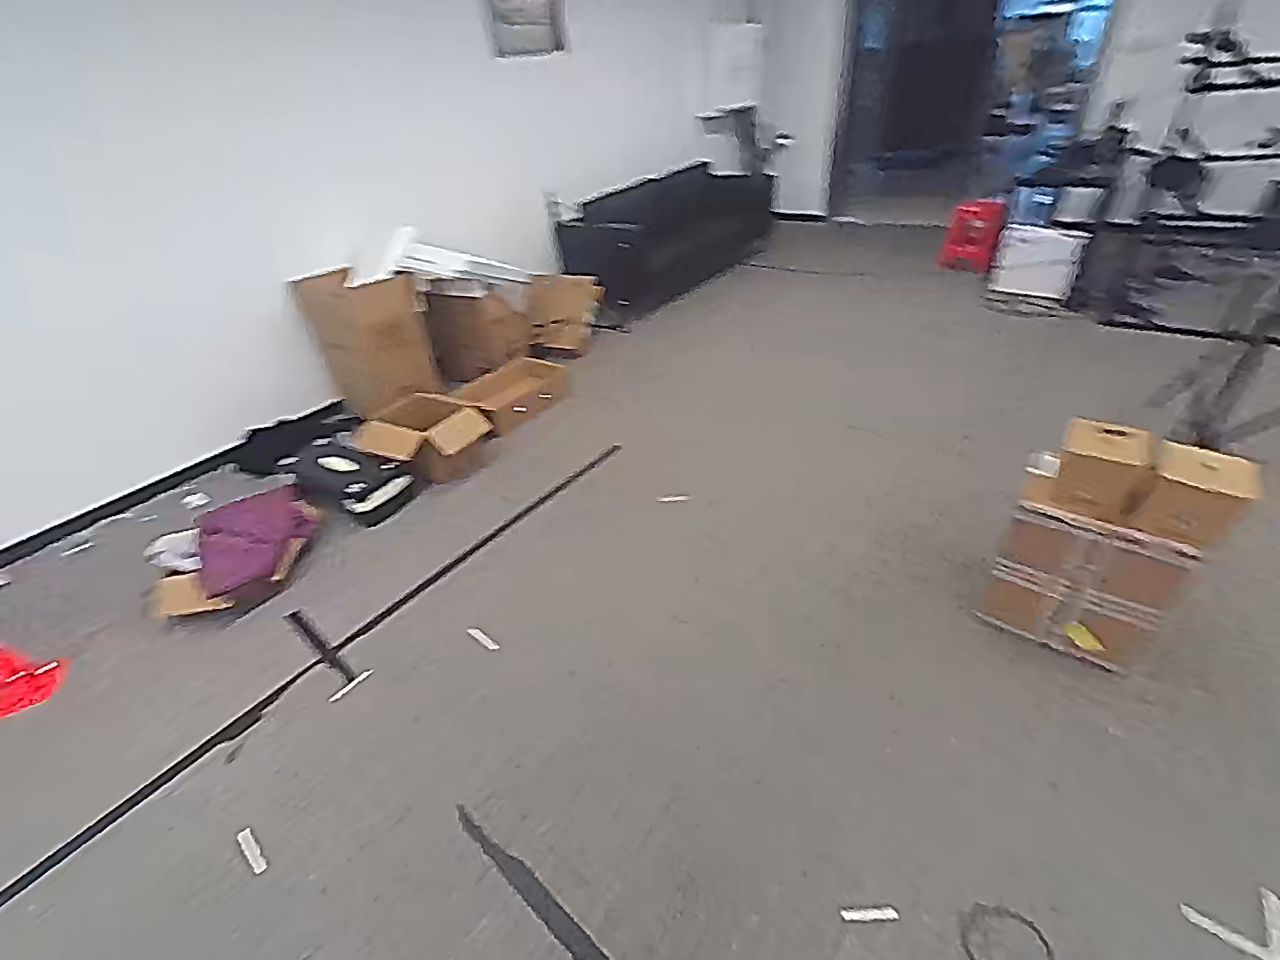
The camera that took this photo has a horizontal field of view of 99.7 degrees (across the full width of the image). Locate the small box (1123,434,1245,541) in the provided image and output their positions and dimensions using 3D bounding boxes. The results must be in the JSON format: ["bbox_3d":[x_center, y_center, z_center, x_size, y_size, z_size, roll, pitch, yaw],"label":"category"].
[{"bbox_3d":[1.351,0.018,1.349,0.168,0.176,0.179,23,48,33],"label":"small box"}]

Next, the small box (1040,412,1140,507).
[{"bbox_3d":[1.221,-0.058,1.472,0.168,0.176,0.179,19,47,33],"label":"small box"}]
